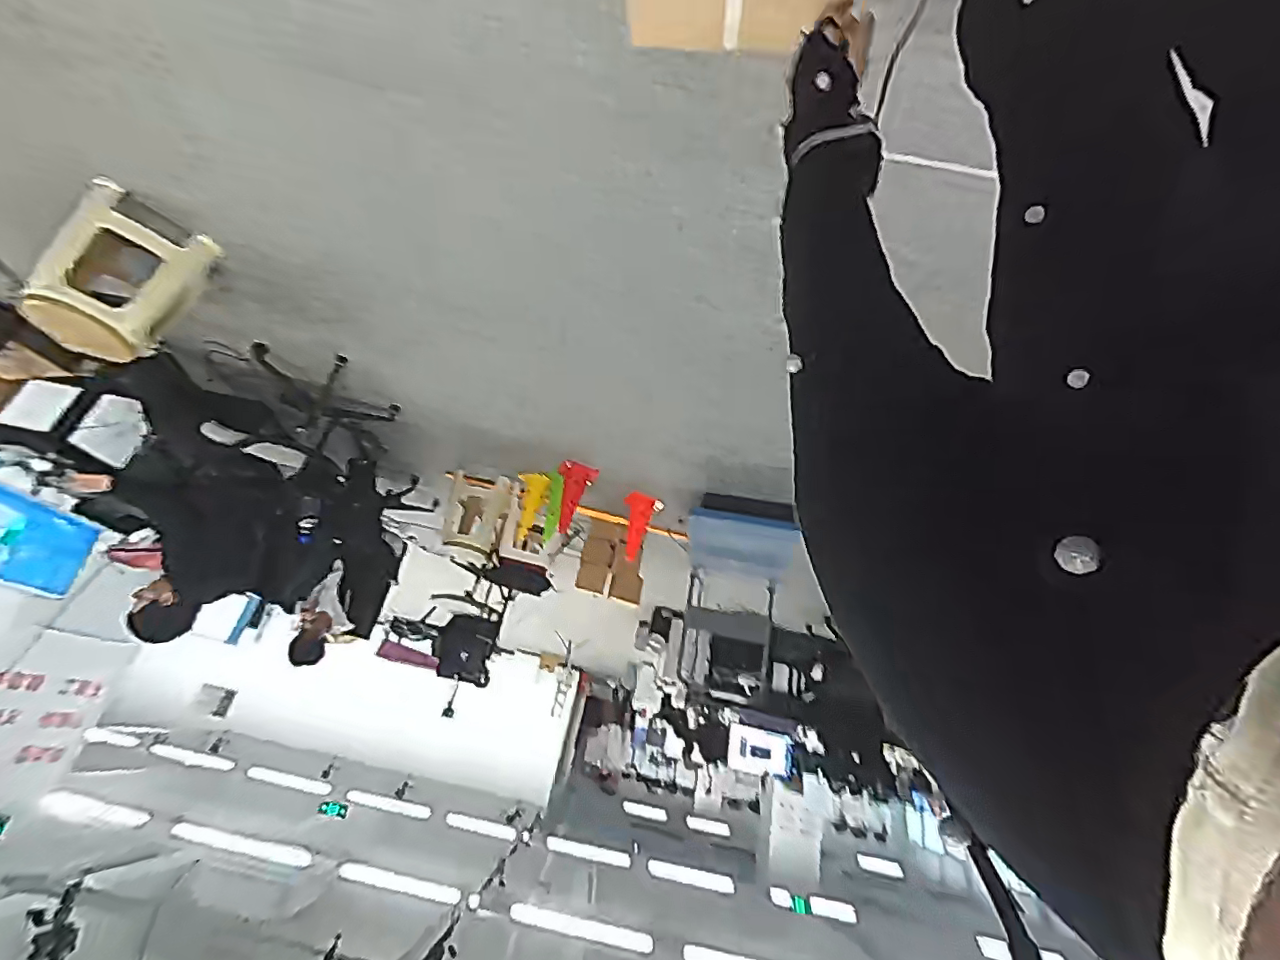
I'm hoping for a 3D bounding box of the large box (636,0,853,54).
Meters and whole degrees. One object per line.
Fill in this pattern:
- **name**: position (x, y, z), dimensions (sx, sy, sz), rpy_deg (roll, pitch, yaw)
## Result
- **large box**: position (0.168, -0.881, 0.727), dimensions (0.320, 0.320, 0.408), rpy_deg (9, 152, 9)
